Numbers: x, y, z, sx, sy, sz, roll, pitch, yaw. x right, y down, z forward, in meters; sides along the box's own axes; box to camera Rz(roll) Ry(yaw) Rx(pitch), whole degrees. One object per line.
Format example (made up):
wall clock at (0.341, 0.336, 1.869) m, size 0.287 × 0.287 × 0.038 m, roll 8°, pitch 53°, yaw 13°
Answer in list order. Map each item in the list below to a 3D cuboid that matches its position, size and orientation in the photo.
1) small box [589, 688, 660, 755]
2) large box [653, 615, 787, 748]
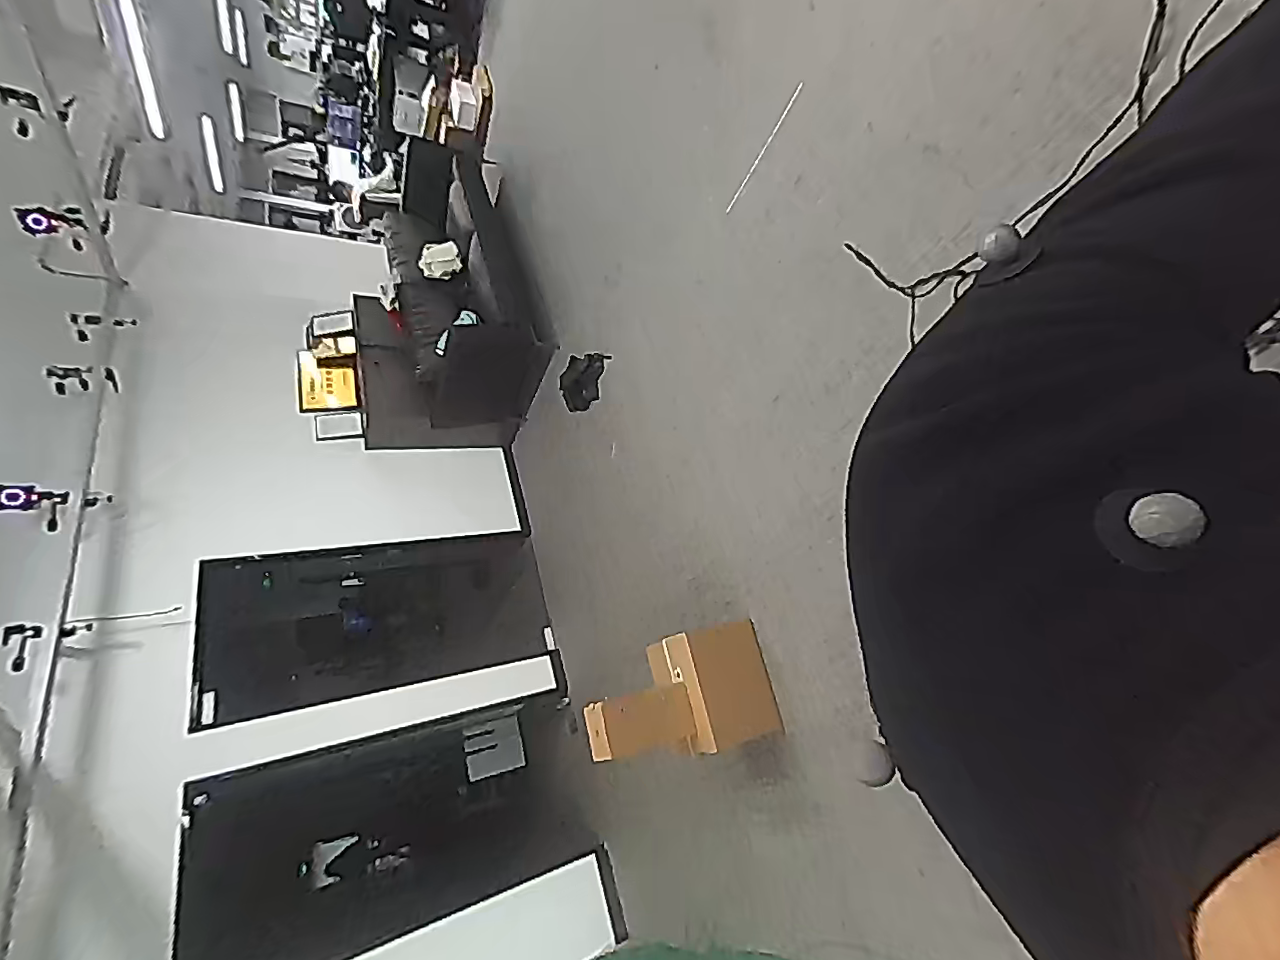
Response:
small box at (-0.053, 0.822, 1.846) m, size 0.168 × 0.176 × 0.179 m, roll -48°, pitch 52°, yaw 52°
large box at (0.294, 0.762, 2.054) m, size 0.320 × 0.320 × 0.408 m, roll -43°, pitch 55°, yaw 52°
